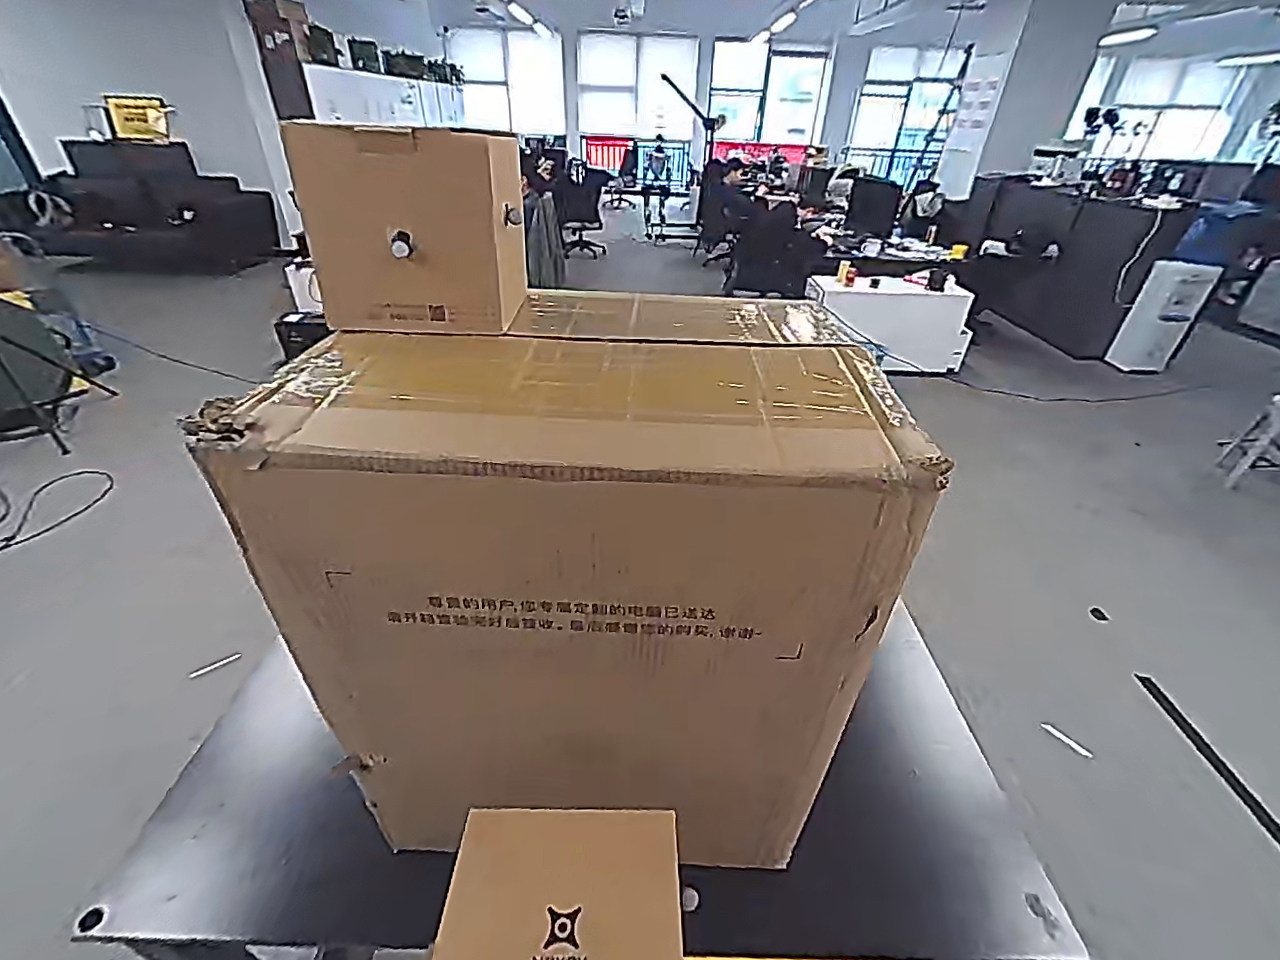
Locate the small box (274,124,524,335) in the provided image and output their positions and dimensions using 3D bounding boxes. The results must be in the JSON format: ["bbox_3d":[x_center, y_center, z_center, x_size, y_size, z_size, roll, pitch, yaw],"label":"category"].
[{"bbox_3d":[-0.212,-0.250,0.539,0.168,0.176,0.179,0,32,-4],"label":"small box"}]
